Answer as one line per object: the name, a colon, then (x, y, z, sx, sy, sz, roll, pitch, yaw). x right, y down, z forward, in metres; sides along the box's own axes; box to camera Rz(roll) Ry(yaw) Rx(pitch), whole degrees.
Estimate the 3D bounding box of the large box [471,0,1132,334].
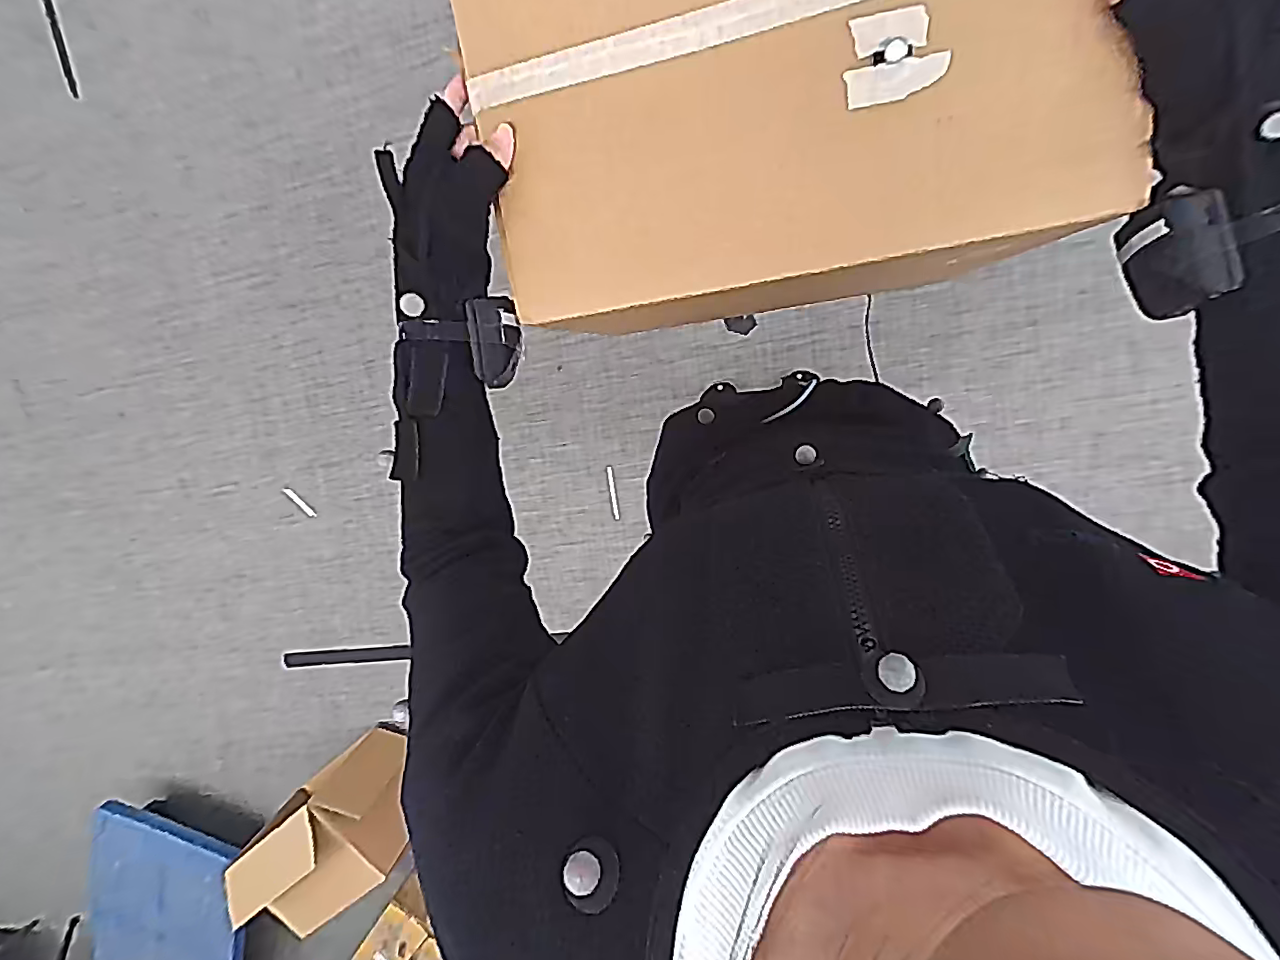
large box: (0.109, -0.329, 0.488, 0.408, 0.320, 0.320, -7, 102, 11)
